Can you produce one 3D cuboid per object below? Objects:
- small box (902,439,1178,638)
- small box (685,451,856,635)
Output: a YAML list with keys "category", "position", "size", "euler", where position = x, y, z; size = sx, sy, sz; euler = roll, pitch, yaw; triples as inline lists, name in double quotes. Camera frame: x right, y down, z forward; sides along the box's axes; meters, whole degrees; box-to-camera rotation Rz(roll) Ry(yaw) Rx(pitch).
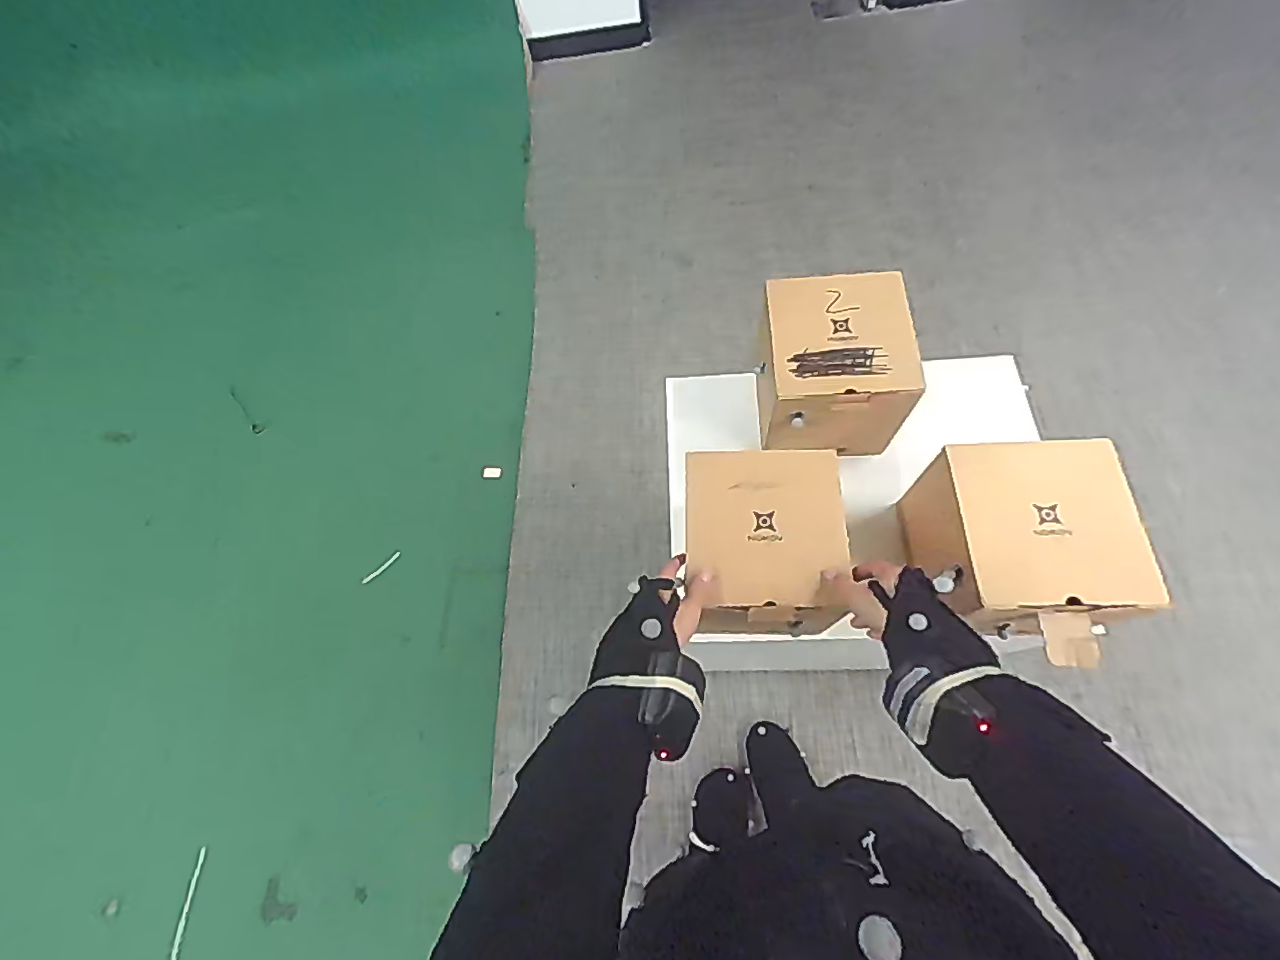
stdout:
- category: "small box"
  position: [0.412, 0.072, 0.600]
  size: [0.168, 0.176, 0.179]
  euler: [-2, 65, 6]
- category: "small box"
  position: [0.137, 0.081, 0.630]
  size: [0.168, 0.176, 0.179]
  euler: [-1, 65, 5]
